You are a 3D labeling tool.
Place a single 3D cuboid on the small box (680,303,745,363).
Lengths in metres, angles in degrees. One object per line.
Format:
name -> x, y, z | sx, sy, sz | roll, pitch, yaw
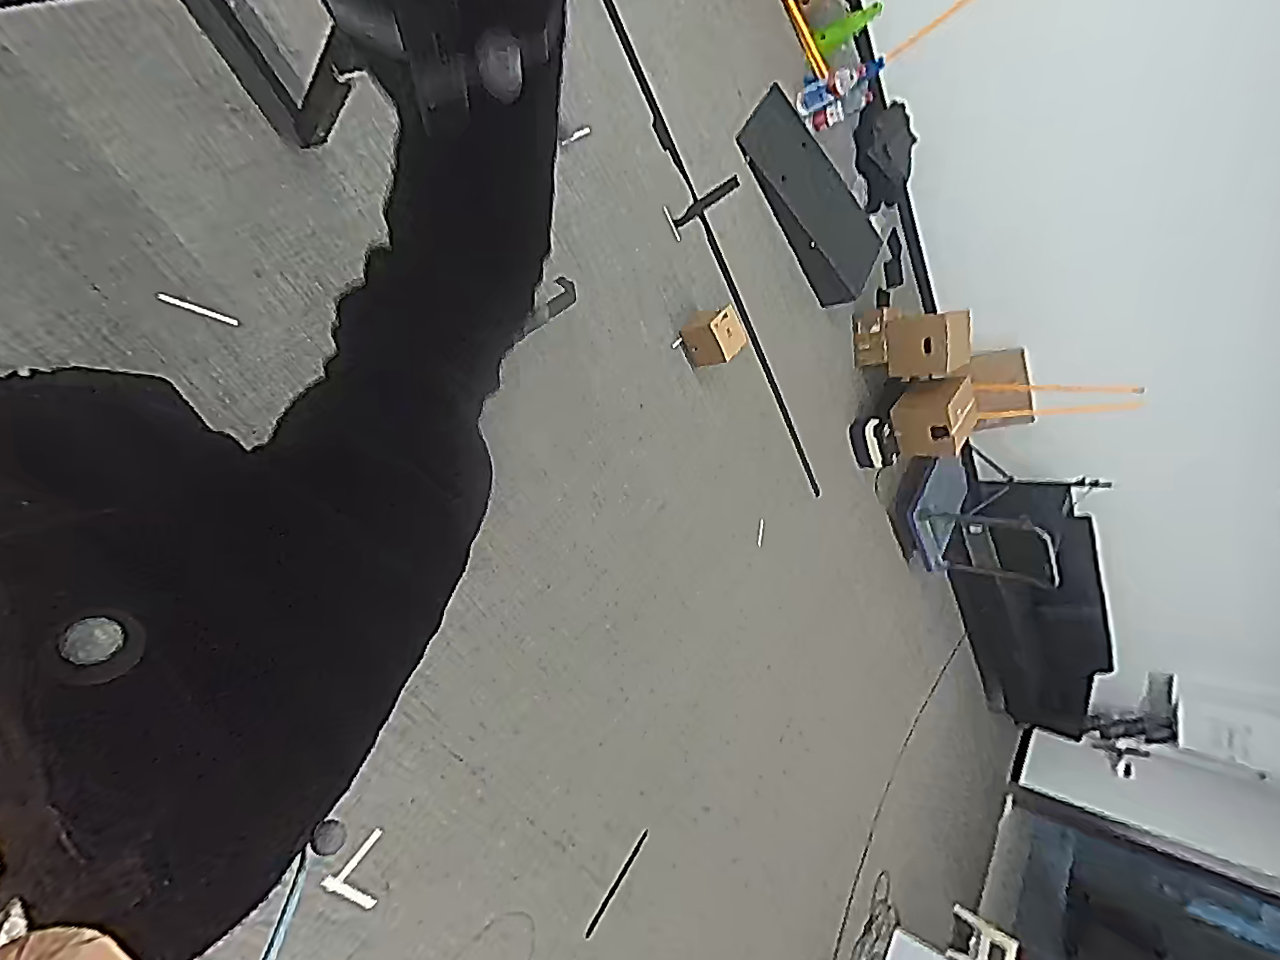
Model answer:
small box -> 0.294, -0.591, 2.201 | 0.168, 0.176, 0.179 | -49, 122, -30
